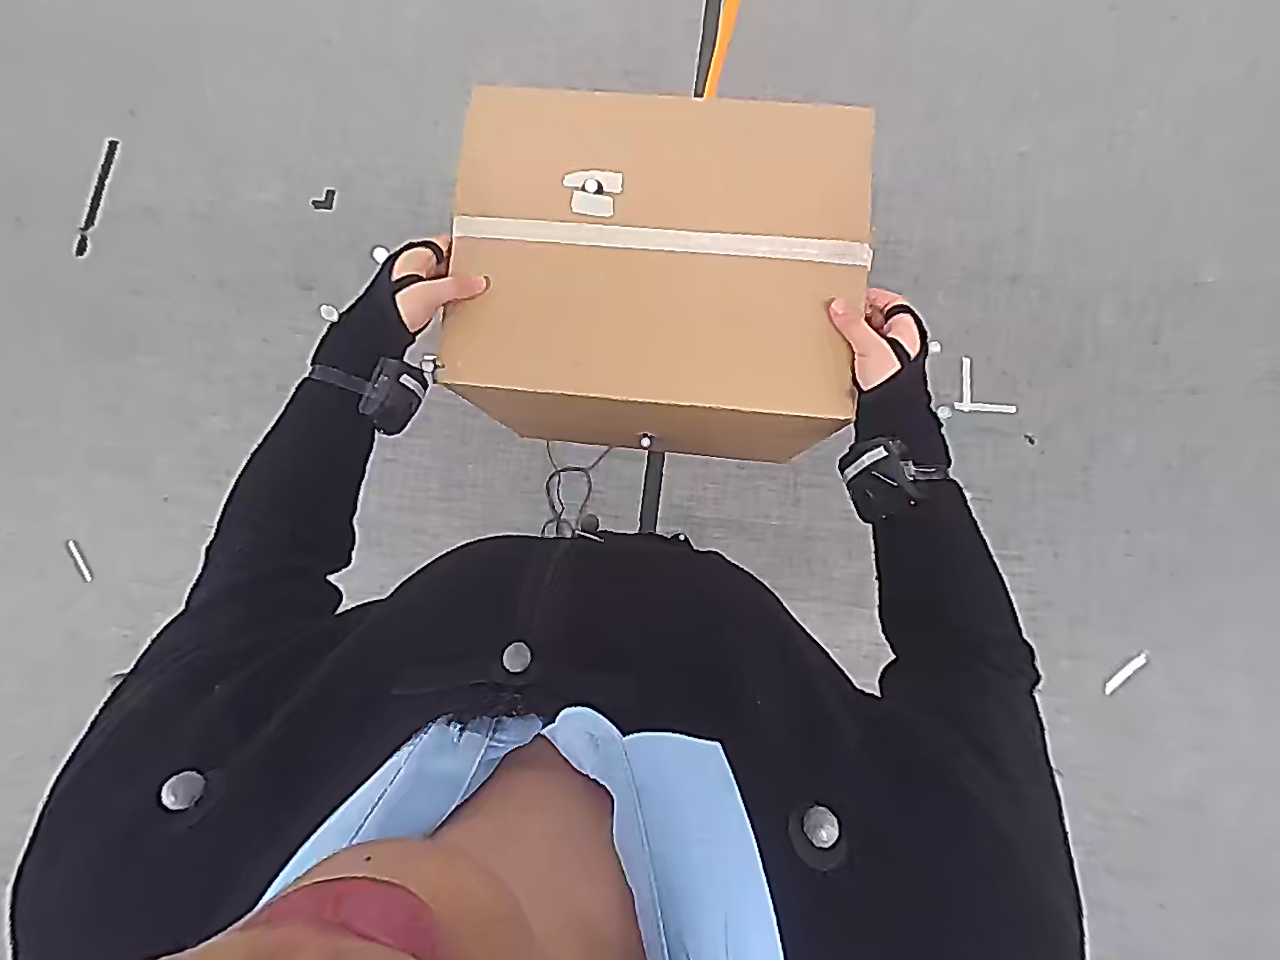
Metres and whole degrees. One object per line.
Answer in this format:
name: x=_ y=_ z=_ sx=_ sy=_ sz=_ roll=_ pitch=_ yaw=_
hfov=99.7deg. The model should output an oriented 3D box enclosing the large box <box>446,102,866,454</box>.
large box: x=0.027 y=-0.215 z=0.684 sx=0.408 sy=0.320 sz=0.320 roll=6 pitch=84 yaw=4
